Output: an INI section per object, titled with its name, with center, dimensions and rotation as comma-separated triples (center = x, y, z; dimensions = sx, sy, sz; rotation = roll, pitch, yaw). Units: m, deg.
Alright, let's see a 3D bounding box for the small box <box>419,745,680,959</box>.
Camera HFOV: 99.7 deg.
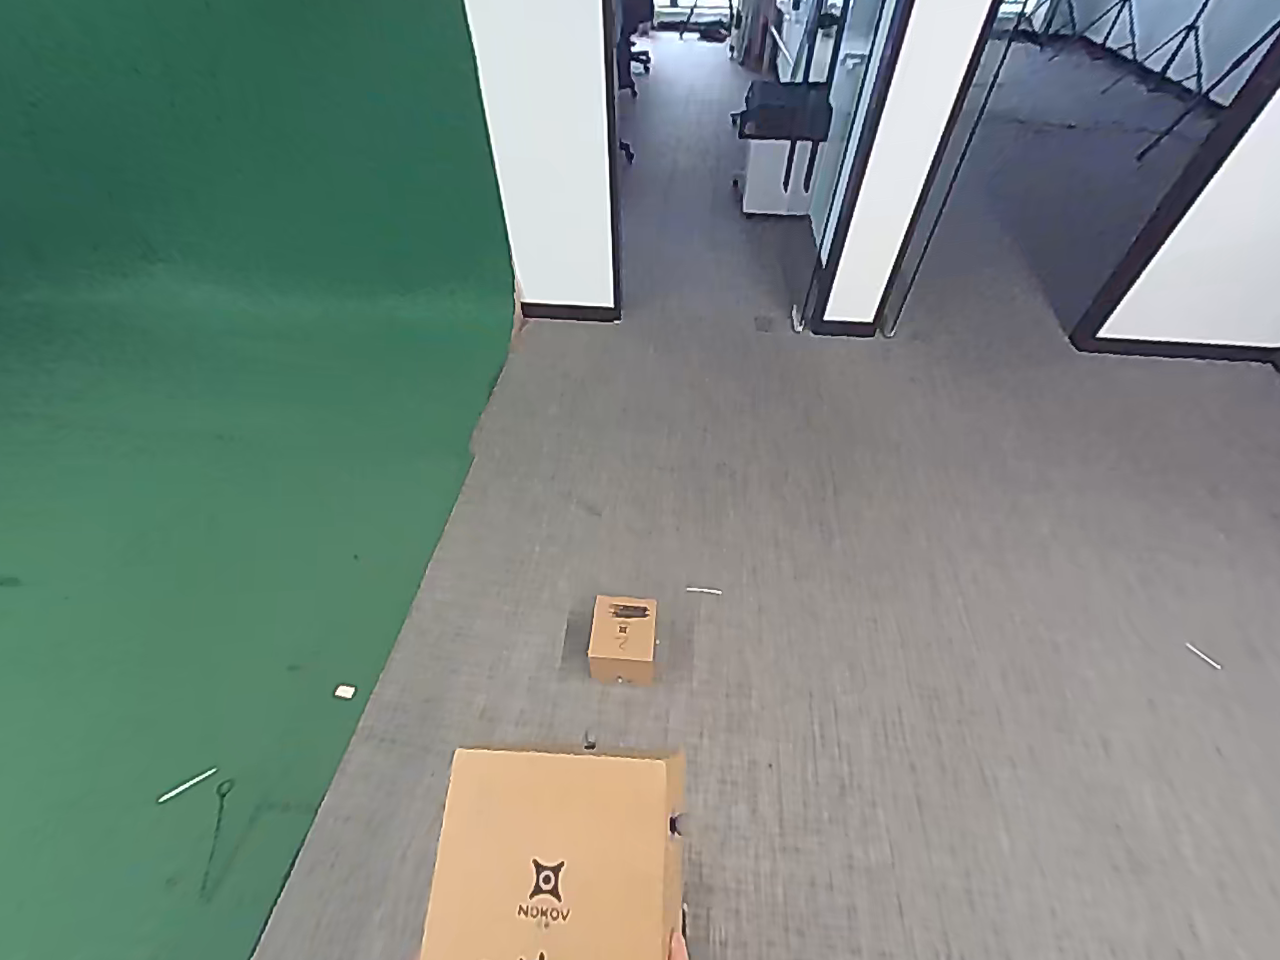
[small box]
center = -0.057, 0.324, 0.451
dimensions = 0.168, 0.176, 0.179
rotation = -1, 65, 9
